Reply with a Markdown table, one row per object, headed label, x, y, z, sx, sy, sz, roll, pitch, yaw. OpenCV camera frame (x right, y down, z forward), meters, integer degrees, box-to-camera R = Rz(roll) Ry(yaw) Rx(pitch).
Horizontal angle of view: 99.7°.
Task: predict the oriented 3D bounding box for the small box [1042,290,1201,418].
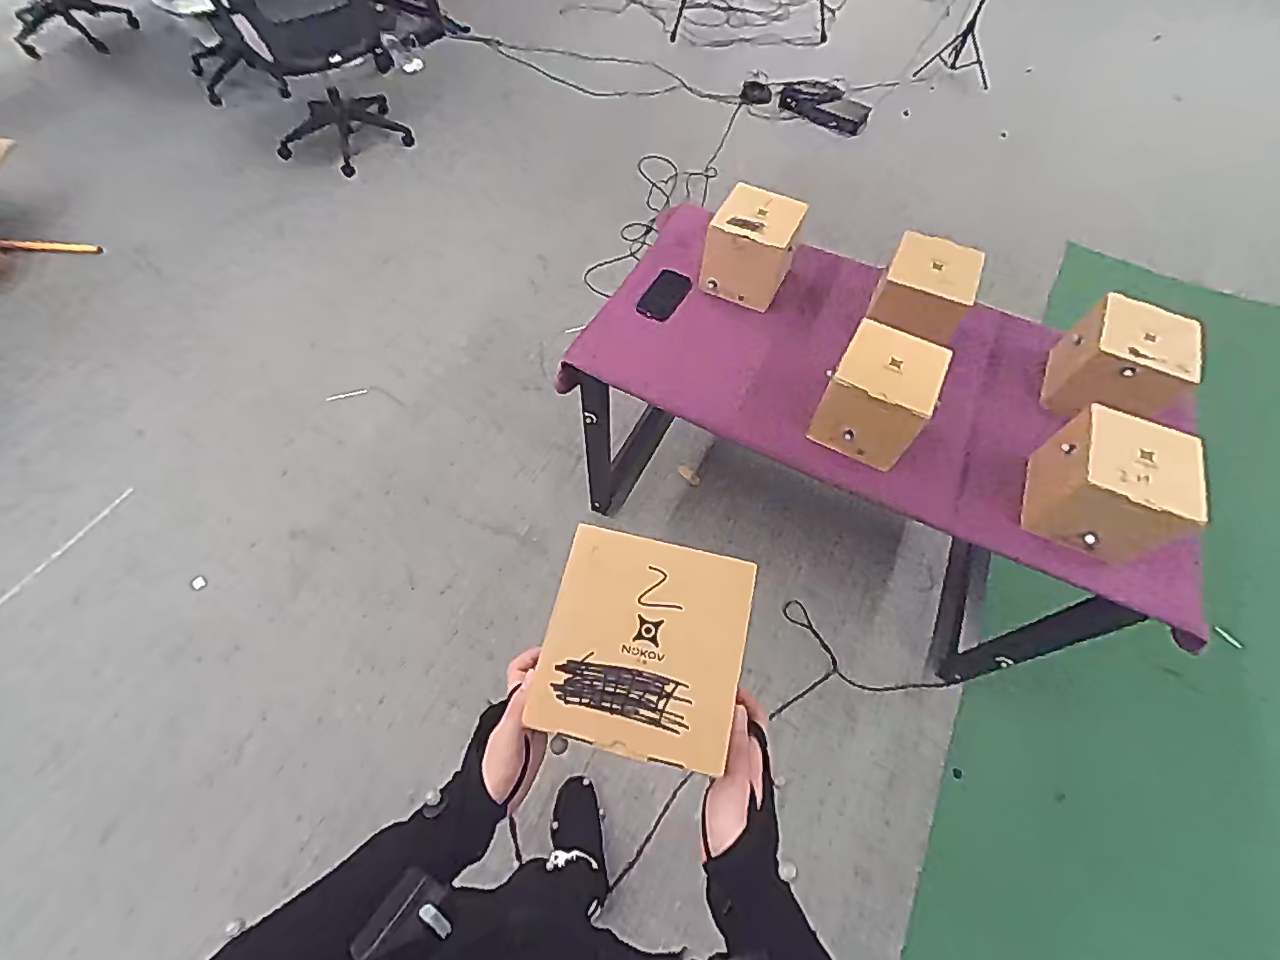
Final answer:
| label | x | y | z | sx | sy | sz | roll | pitch | yaw |
| --- | --- | --- | --- | --- | --- | --- | --- | --- | --- |
| small box | 0.925 | -0.227 | 1.050 | 0.168 | 0.176 | 0.179 | 25 | 62 | 13 |

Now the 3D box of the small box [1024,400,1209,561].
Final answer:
| label | x | y | z | sx | sy | sz | roll | pitch | yaw |
| --- | --- | --- | --- | --- | --- | --- | --- | --- | --- |
| small box | 0.781 | 0.005 | 0.903 | 0.168 | 0.176 | 0.179 | 23 | 62 | 13 |

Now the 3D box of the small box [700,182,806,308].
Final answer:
| label | x | y | z | sx | sy | sz | roll | pitch | yaw |
| --- | --- | --- | --- | --- | --- | --- | --- | --- | --- |
| small box | 0.242 | -0.513 | 1.194 | 0.168 | 0.176 | 0.179 | 24 | 61 | 11 |

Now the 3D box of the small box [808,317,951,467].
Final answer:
| label | x | y | z | sx | sy | sz | roll | pitch | yaw |
| --- | --- | --- | --- | --- | --- | --- | --- | --- | --- |
| small box | 0.430 | -0.157 | 0.991 | 0.168 | 0.176 | 0.179 | 26 | 61 | 13 |

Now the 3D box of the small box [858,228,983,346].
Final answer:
| label | x | y | z | sx | sy | sz | roll | pitch | yaw |
| --- | --- | --- | --- | --- | --- | --- | --- | --- | --- |
| small box | 0.579 | -0.385 | 1.133 | 0.168 | 0.176 | 0.179 | 24 | 62 | 12 |
